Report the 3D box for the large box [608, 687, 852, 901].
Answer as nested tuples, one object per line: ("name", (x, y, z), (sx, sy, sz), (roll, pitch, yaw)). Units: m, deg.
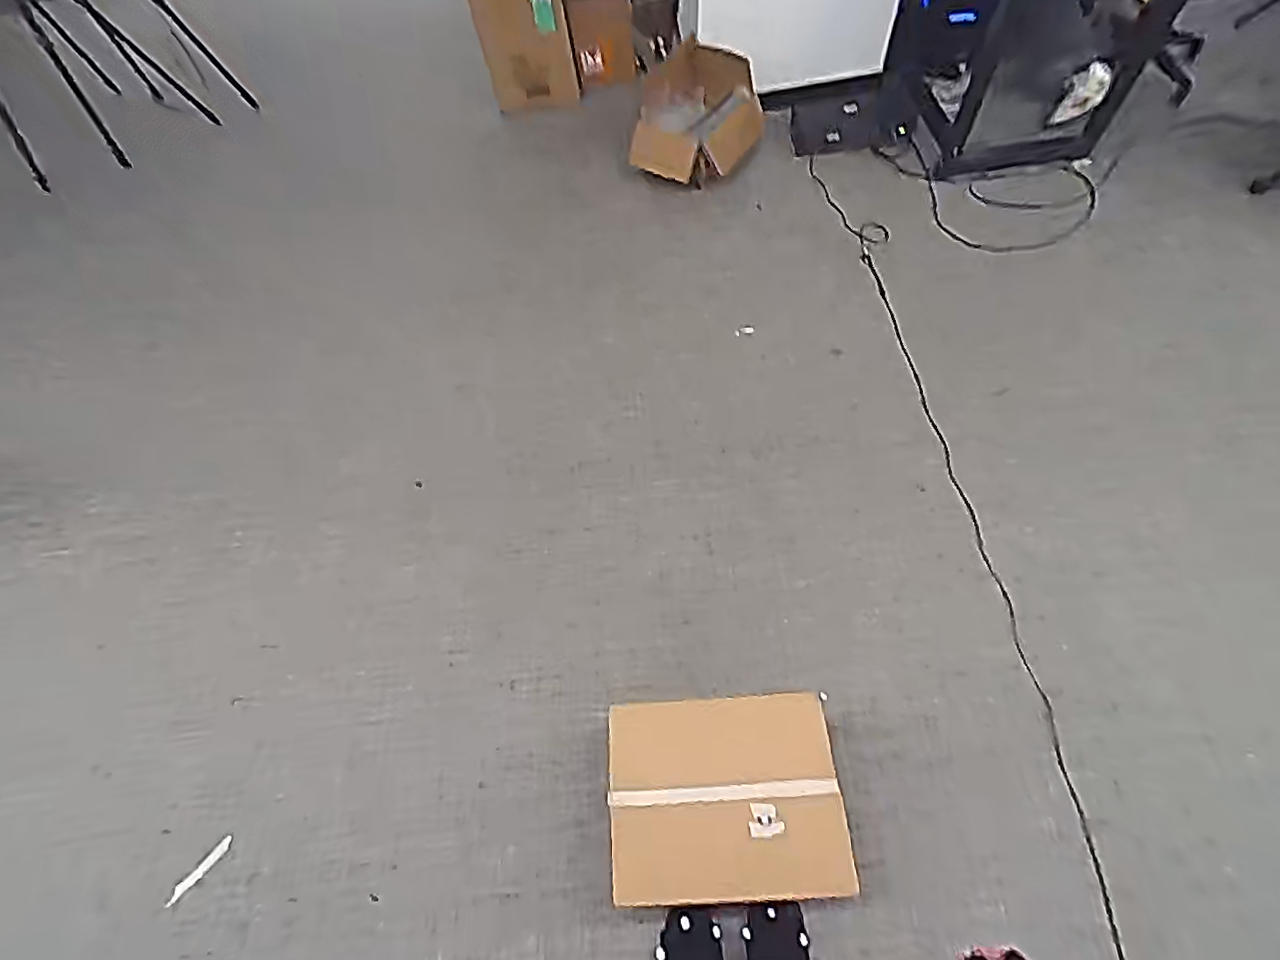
("large box", (0.157, 0.624, 1.102), (0.408, 0.320, 0.320), (-5, 61, 2))
